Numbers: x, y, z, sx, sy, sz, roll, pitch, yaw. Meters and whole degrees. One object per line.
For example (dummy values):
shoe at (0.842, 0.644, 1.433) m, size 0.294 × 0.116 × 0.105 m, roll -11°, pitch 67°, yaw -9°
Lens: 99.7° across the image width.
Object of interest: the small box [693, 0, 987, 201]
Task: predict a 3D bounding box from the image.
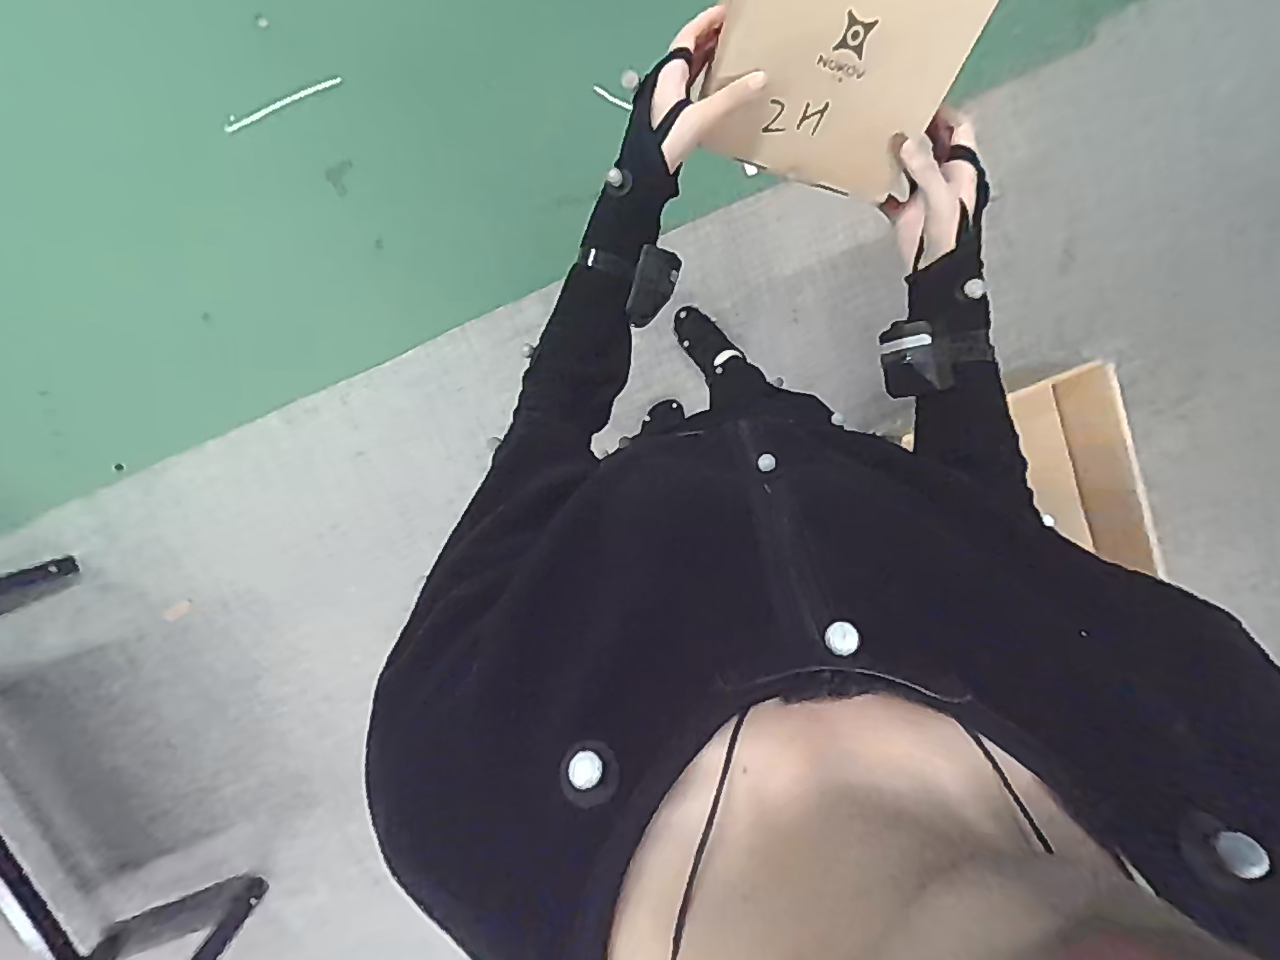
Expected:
small box at (0.143, -0.365, 0.434) m, size 0.168 × 0.176 × 0.179 m, roll 13°, pitch 136°, yaw -9°
